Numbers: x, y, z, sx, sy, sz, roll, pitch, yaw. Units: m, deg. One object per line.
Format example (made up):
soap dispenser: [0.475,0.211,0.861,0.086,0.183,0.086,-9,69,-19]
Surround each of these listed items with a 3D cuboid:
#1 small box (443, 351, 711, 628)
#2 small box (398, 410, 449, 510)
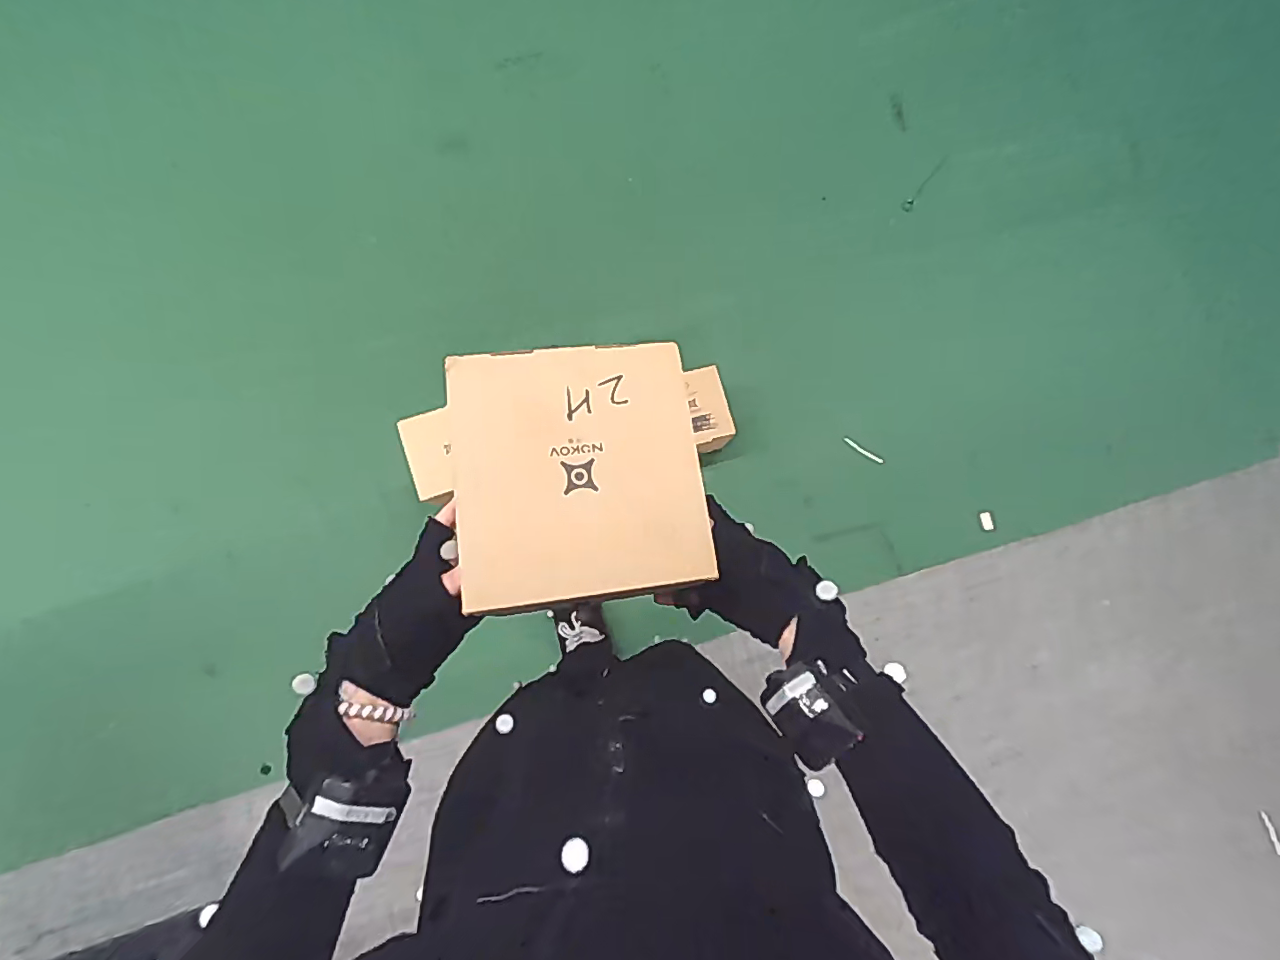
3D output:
small box: [-0.053,0.017,0.433,0.168,0.176,0.179,-6,77,-10]
small box: [-0.364,-0.045,1.115,0.179,0.176,0.168,-19,83,-6]
